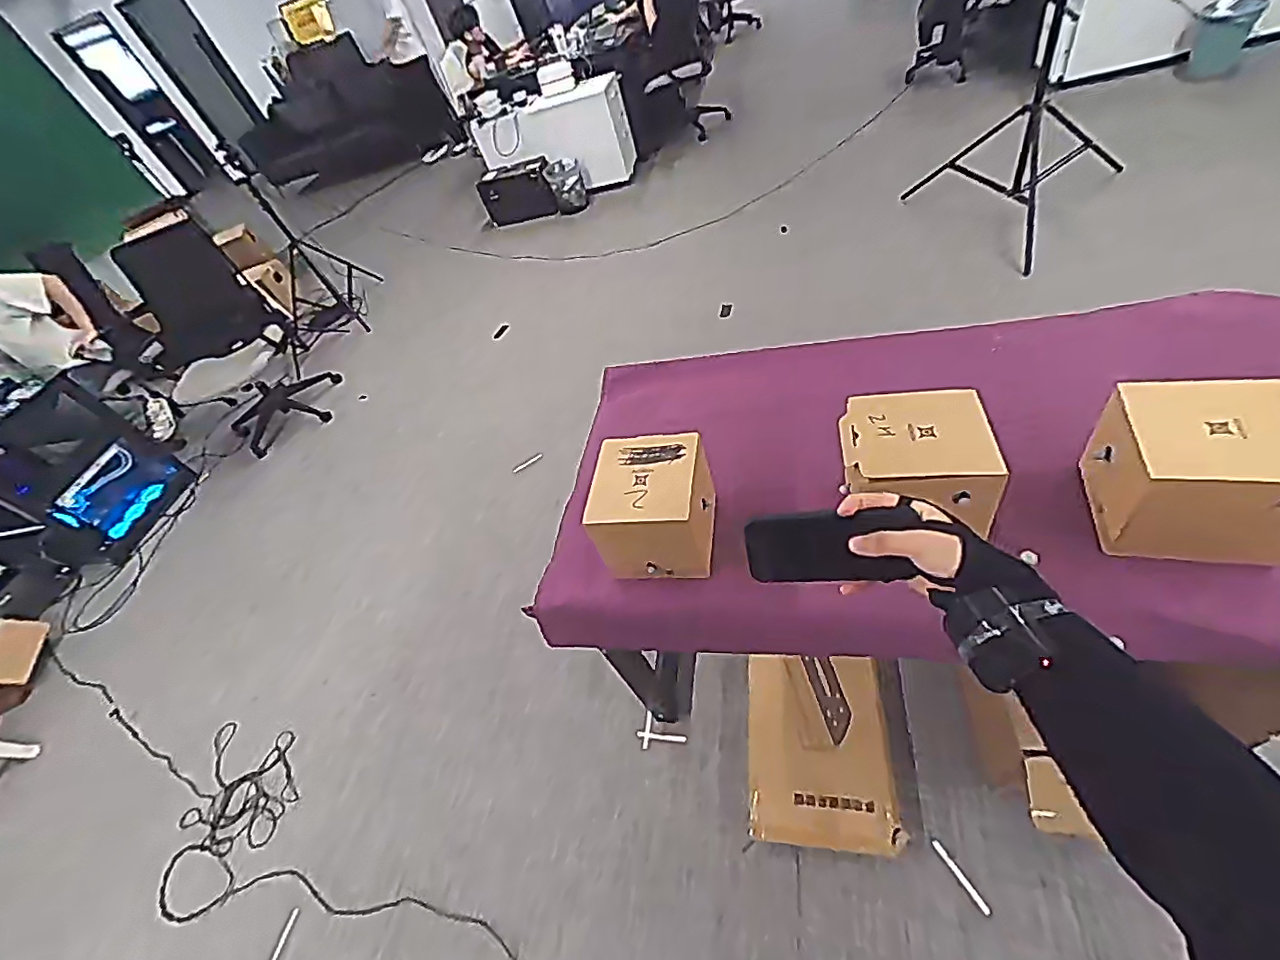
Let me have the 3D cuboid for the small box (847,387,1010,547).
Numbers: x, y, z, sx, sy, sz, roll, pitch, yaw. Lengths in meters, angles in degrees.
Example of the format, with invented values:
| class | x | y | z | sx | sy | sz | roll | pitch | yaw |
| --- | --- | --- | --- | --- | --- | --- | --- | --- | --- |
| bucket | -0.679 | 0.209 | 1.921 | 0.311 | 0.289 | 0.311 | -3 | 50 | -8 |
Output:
| class | x | y | z | sx | sy | sz | roll | pitch | yaw |
| --- | --- | --- | --- | --- | --- | --- | --- | --- | --- |
| small box | 0.405 | -0.013 | 0.796 | 0.179 | 0.176 | 0.168 | -4 | 47 | 17 |

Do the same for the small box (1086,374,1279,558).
| class | x | y | z | sx | sy | sz | roll | pitch | yaw |
| --- | --- | --- | --- | --- | --- | --- | --- | --- | --- |
| small box | 0.705 | -0.015 | 0.689 | 0.179 | 0.176 | 0.168 | 2 | 52 | 21 |
